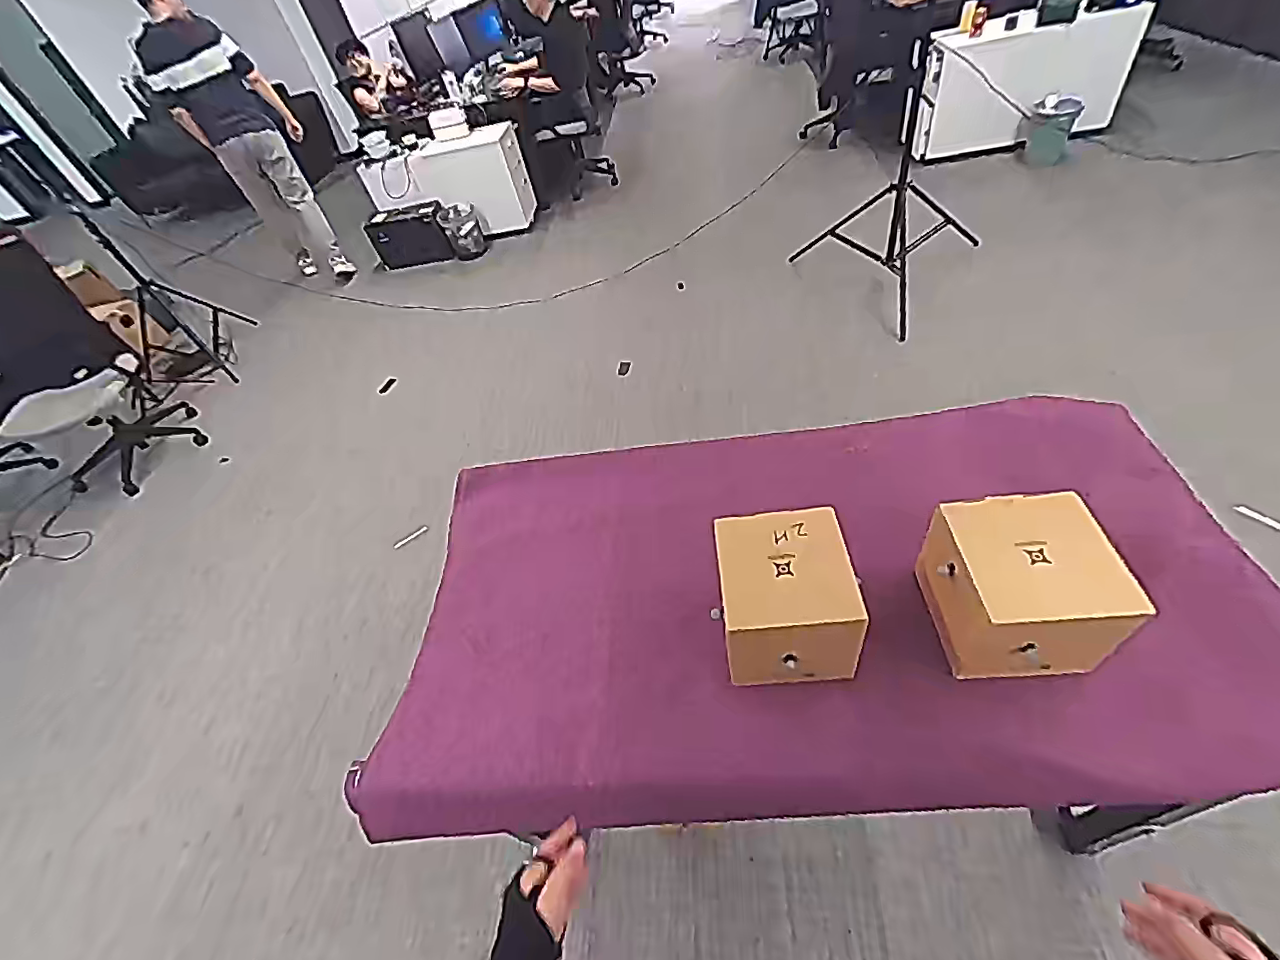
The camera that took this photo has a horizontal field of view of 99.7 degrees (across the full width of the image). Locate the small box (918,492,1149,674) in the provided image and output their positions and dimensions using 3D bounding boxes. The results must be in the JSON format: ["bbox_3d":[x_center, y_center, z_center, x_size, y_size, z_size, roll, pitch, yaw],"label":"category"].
[{"bbox_3d":[0.487,0.141,0.706,0.168,0.176,0.179,-6,47,9],"label":"small box"}]

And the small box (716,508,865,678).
[{"bbox_3d":[0.200,0.164,0.755,0.168,0.176,0.179,-6,46,7],"label":"small box"}]
